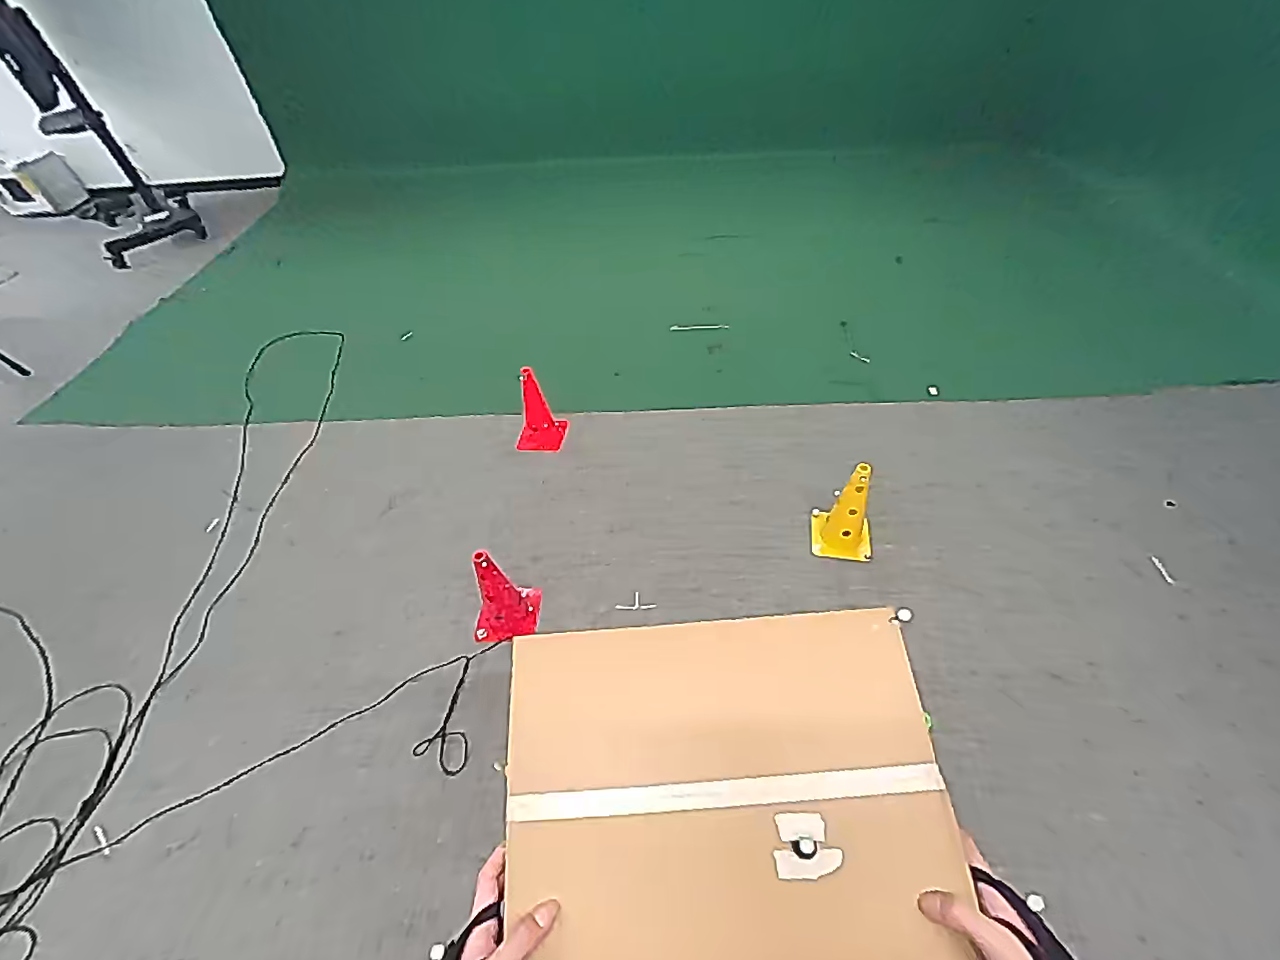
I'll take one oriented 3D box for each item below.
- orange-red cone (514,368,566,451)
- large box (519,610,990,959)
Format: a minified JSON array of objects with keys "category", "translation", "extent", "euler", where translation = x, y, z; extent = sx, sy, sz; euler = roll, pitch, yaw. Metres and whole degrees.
[{"category":"orange-red cone","translation":[-0.454,-0.313,2.262],"extent":[0.199,0.360,0.198],"euler":[3,48,9]},{"category":"large box","translation":[0.088,0.360,0.645],"extent":[0.408,0.320,0.320],"euler":[-5,65,0]}]
